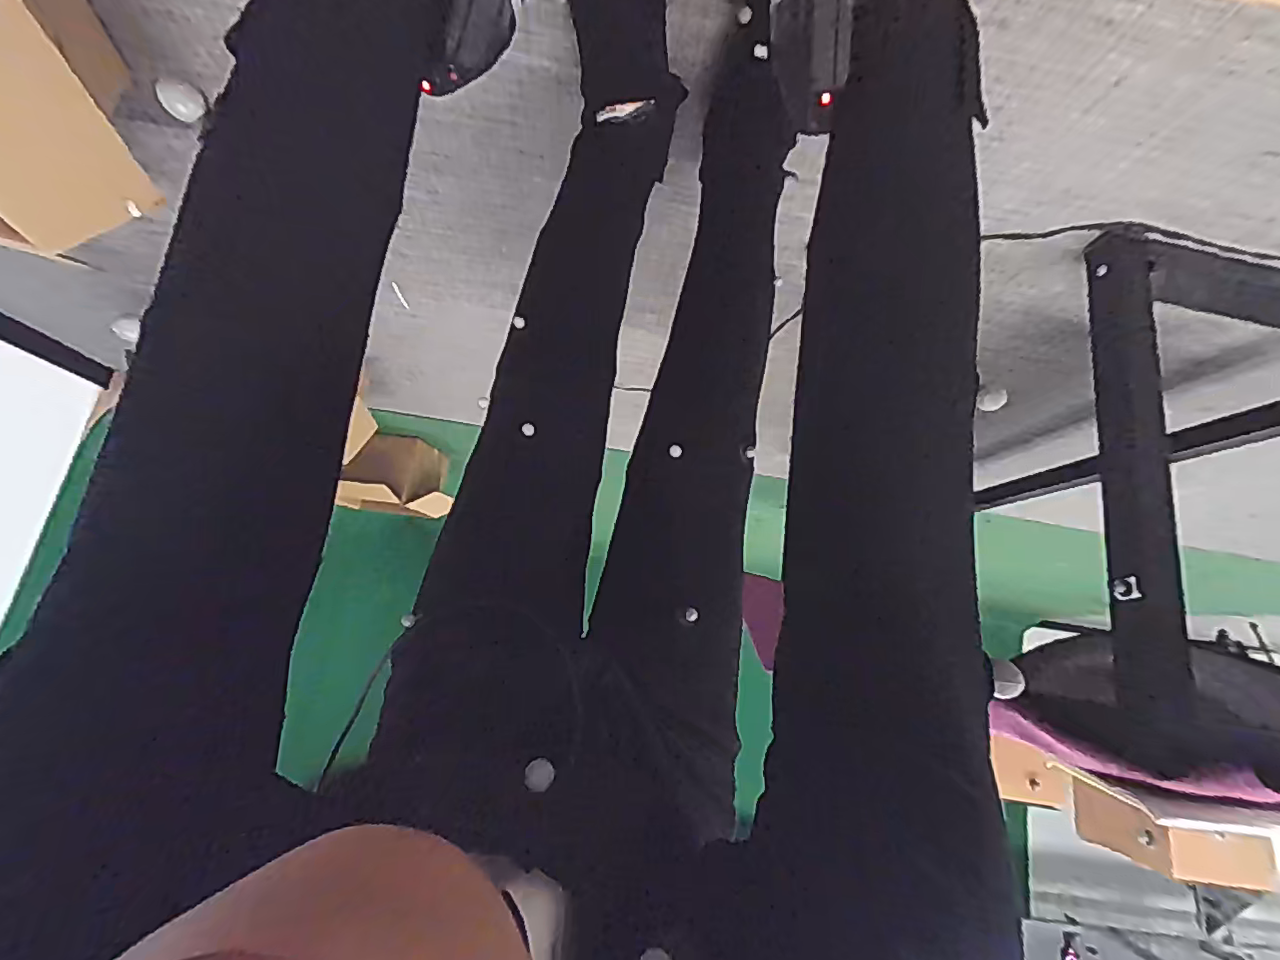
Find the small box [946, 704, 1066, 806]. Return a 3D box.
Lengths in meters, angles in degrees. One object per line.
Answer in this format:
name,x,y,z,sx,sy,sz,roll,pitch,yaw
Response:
small box,0.821,0.617,1.235,0.179,0.176,0.168,9,165,-4
